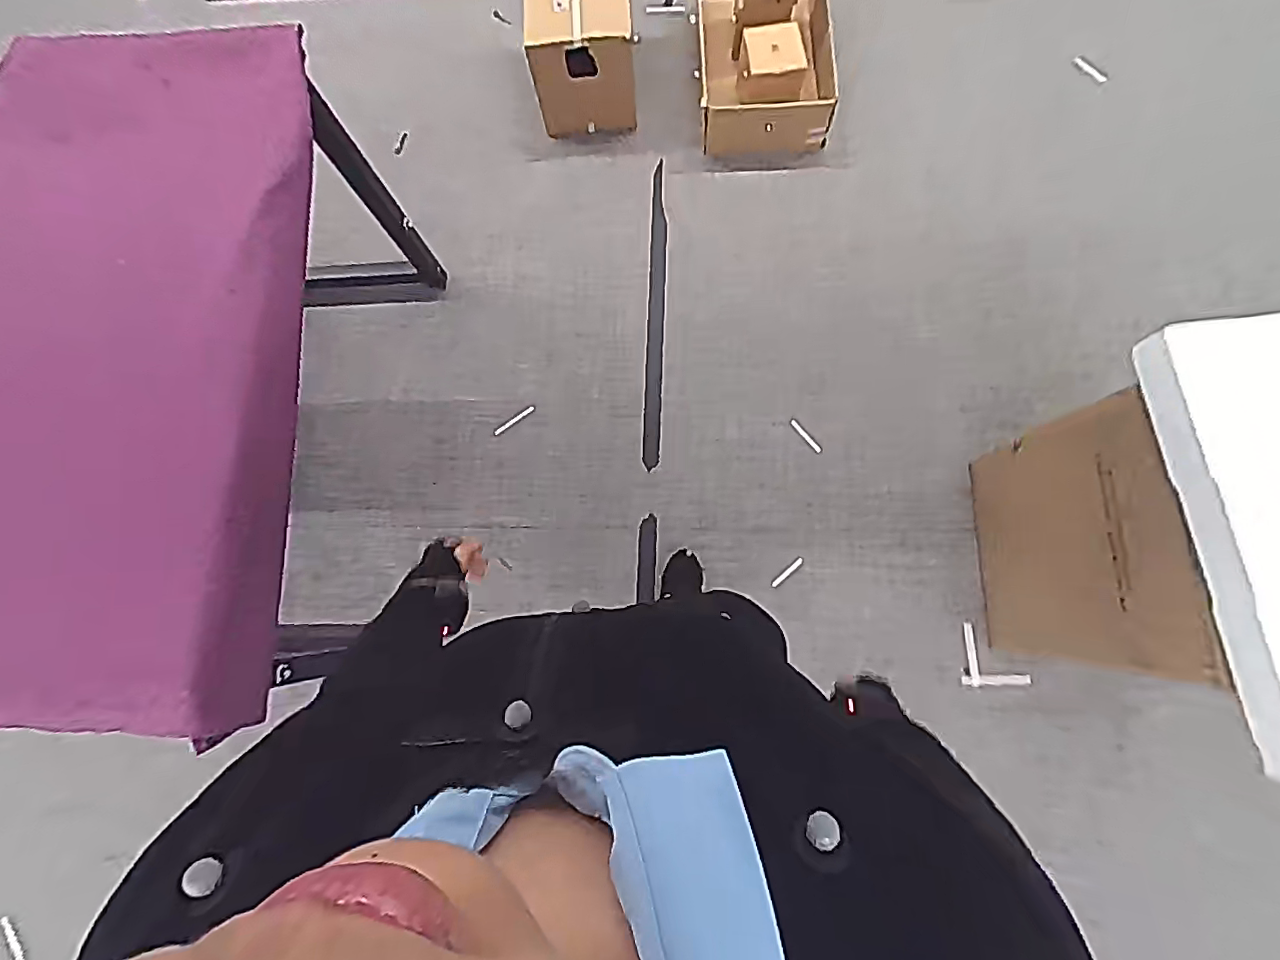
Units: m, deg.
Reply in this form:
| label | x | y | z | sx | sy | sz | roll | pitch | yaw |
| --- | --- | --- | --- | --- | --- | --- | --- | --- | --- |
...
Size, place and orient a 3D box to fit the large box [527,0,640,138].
| label | x | y | z | sx | sy | sz | roll | pitch | yaw |
| --- | --- | --- | --- | --- | --- | --- | --- | --- | --- |
| large box | -0.171 | -1.391 | 1.720 | 0.320 | 0.320 | 0.408 | -4 | 78 | 3 |

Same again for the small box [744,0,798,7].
| label | x | y | z | sx | sy | sz | roll | pitch | yaw |
| --- | --- | --- | --- | --- | --- | --- | --- | --- | --- |
| small box | 0.391 | -1.522 | 1.570 | 0.168 | 0.176 | 0.179 | -1 | 79 | 1 |
